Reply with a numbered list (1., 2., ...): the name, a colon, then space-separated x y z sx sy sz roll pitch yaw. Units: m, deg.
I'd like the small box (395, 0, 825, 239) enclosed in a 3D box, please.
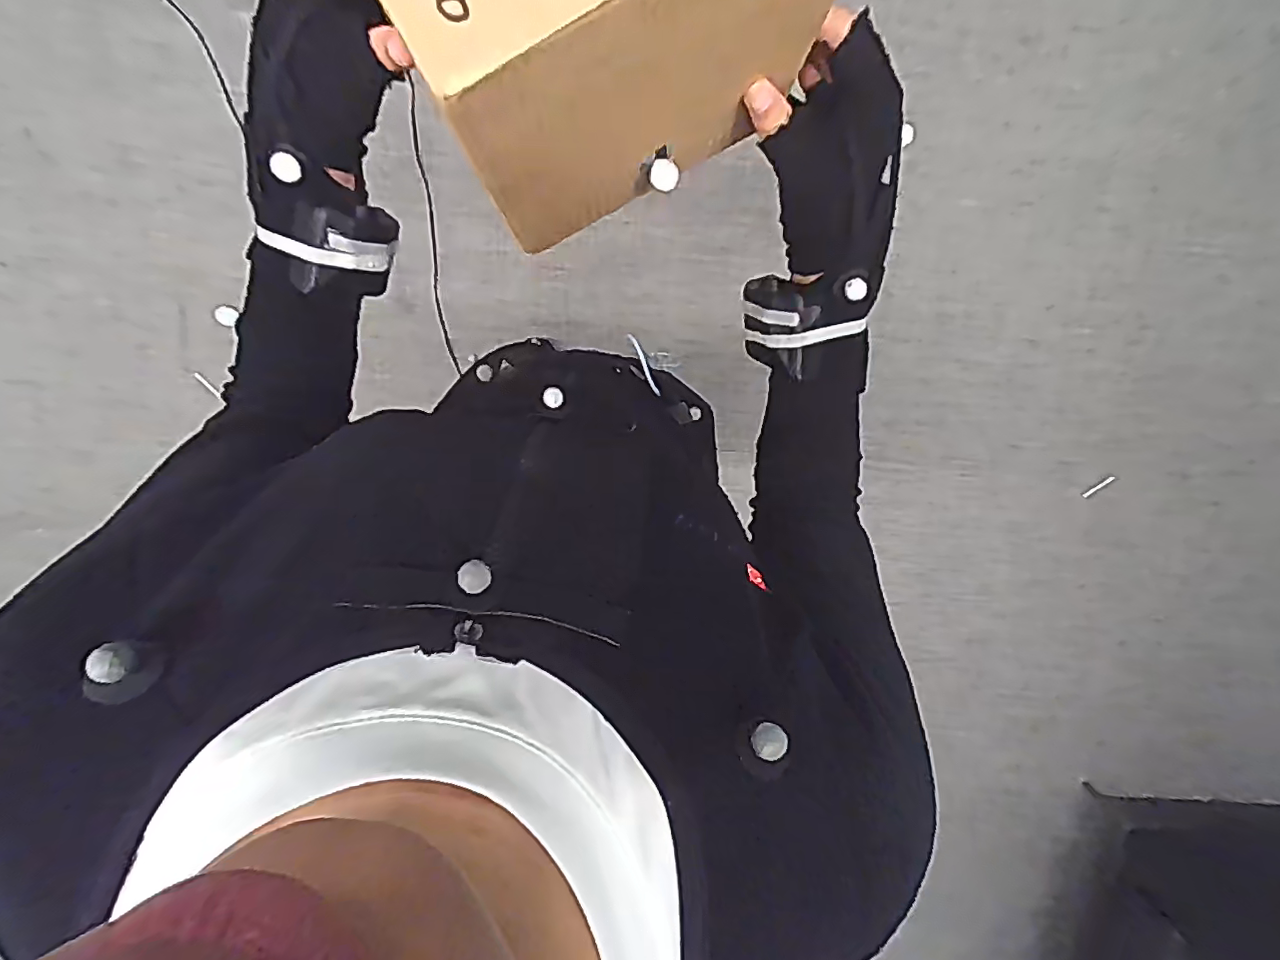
1. small box: -0.027 -0.248 0.250 0.179 0.176 0.168 -28 96 1
